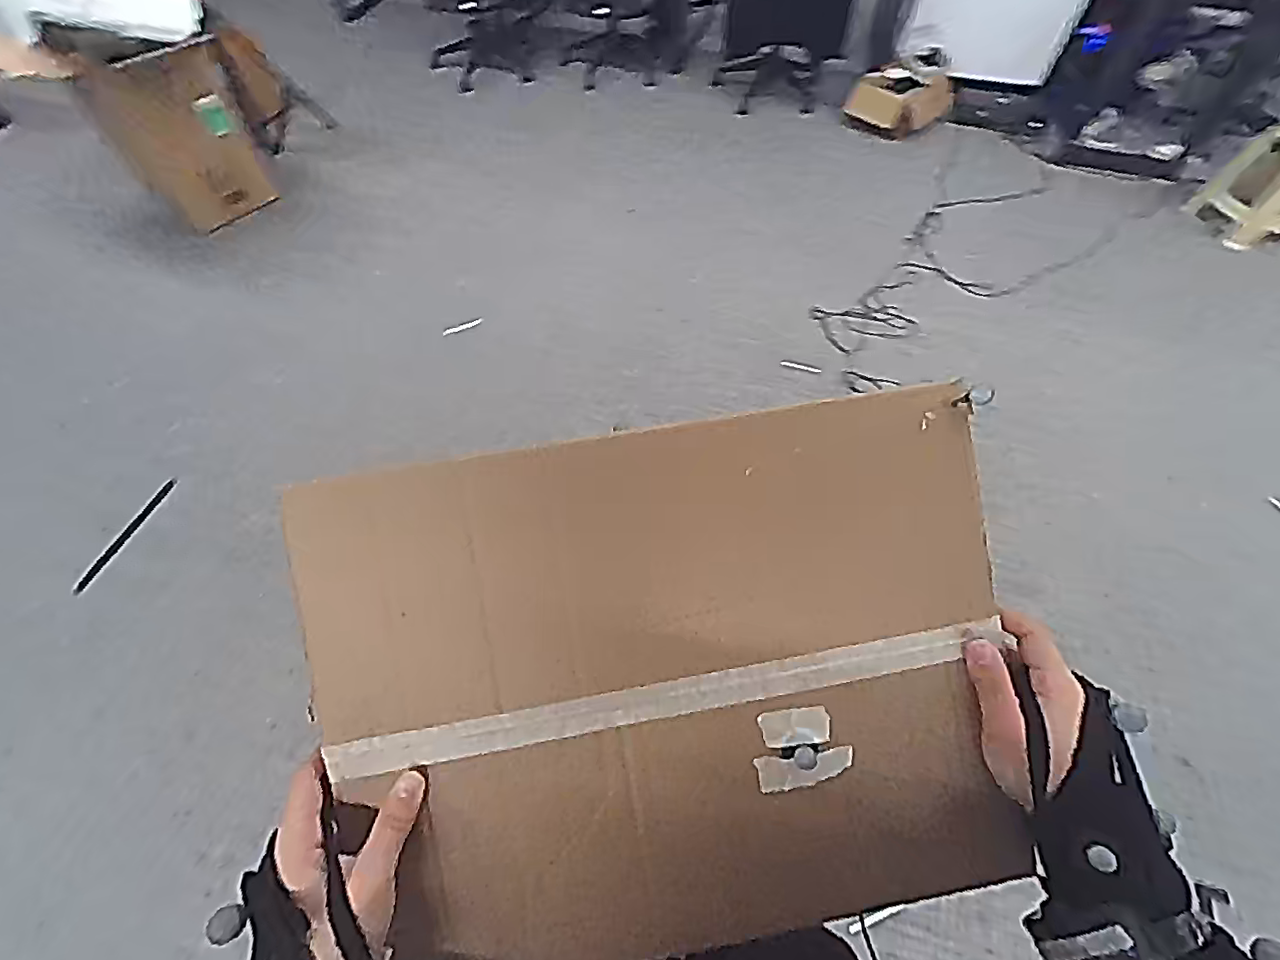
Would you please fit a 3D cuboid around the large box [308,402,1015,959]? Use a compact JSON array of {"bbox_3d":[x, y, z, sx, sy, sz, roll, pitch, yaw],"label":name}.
[{"bbox_3d":[0.012,0.132,0.480,0.408,0.320,0.320,-9,93,-4],"label":"large box"}]
